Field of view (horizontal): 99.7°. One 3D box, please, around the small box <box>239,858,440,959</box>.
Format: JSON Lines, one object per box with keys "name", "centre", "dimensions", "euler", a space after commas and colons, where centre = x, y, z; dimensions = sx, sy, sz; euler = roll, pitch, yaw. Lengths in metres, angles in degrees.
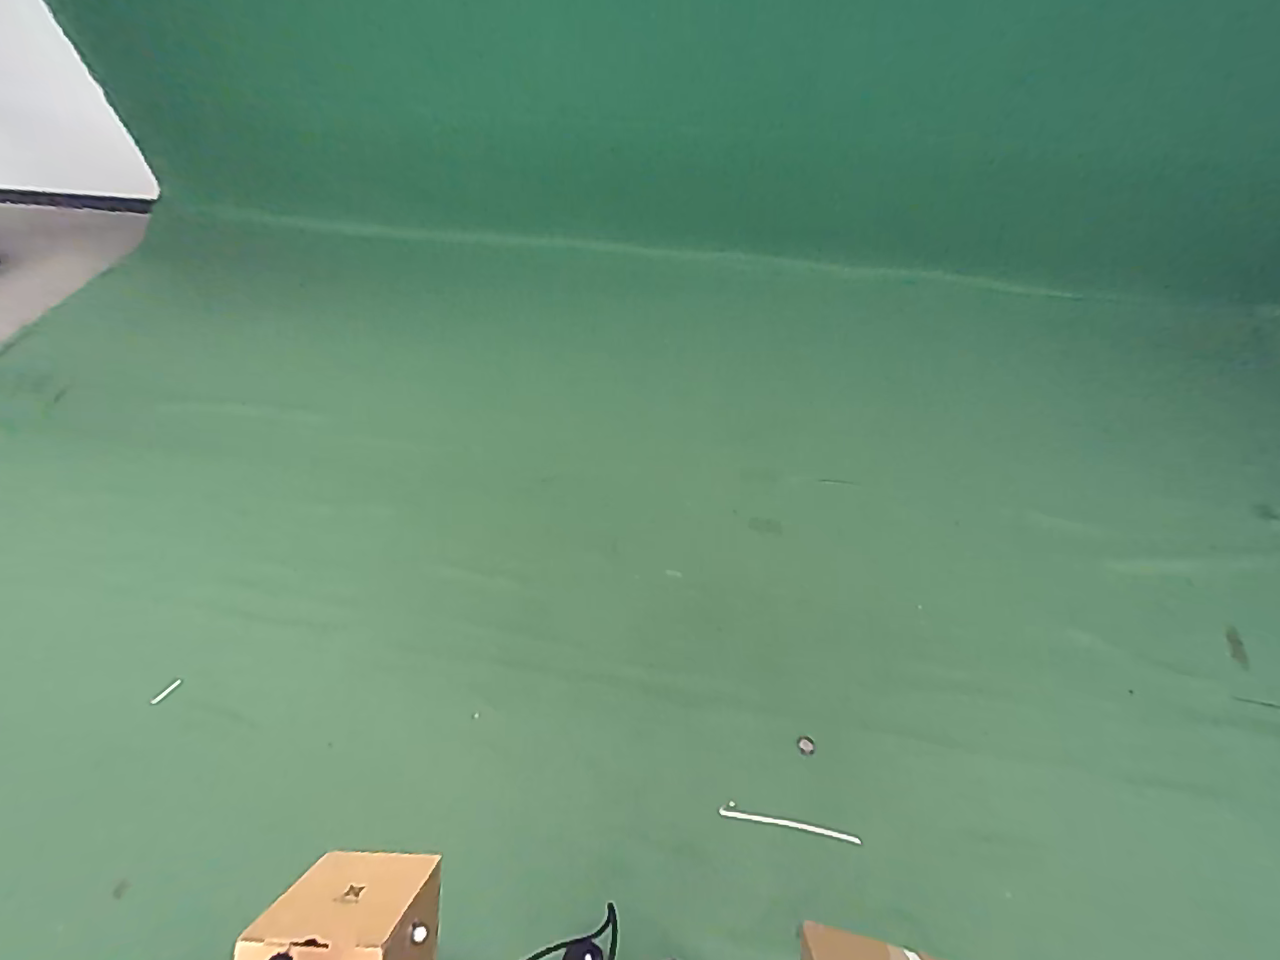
{"name": "small box", "centre": [-0.367, 0.610, 0.669], "dimensions": [0.168, 0.179, 0.176], "euler": [1, 84, 1]}
